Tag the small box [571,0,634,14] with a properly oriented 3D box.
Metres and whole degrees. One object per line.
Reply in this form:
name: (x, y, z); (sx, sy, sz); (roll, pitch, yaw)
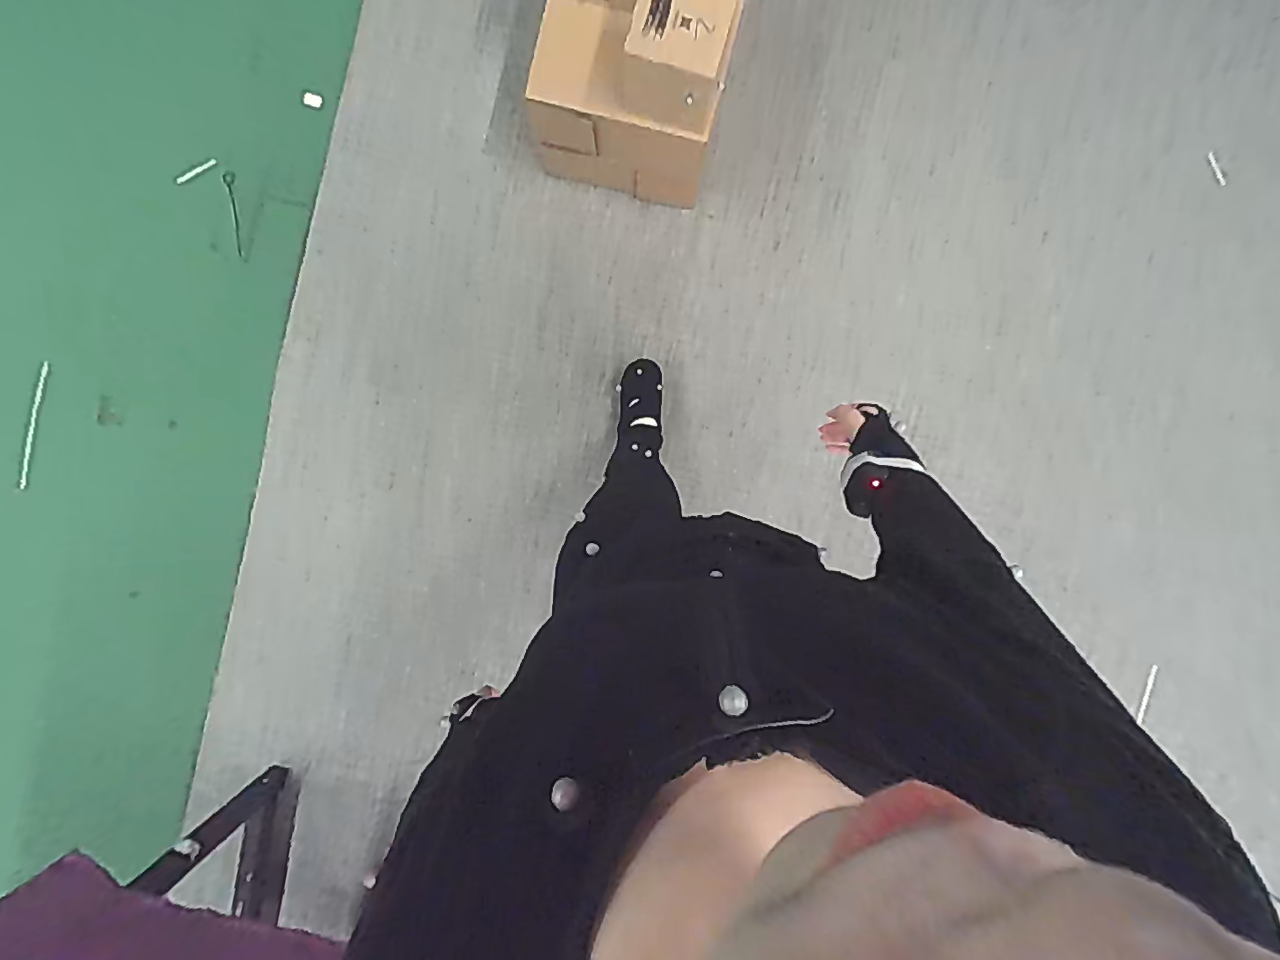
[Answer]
small box: (-0.079, -1.080, 1.056); (0.168, 0.176, 0.179); (15, 89, 2)
